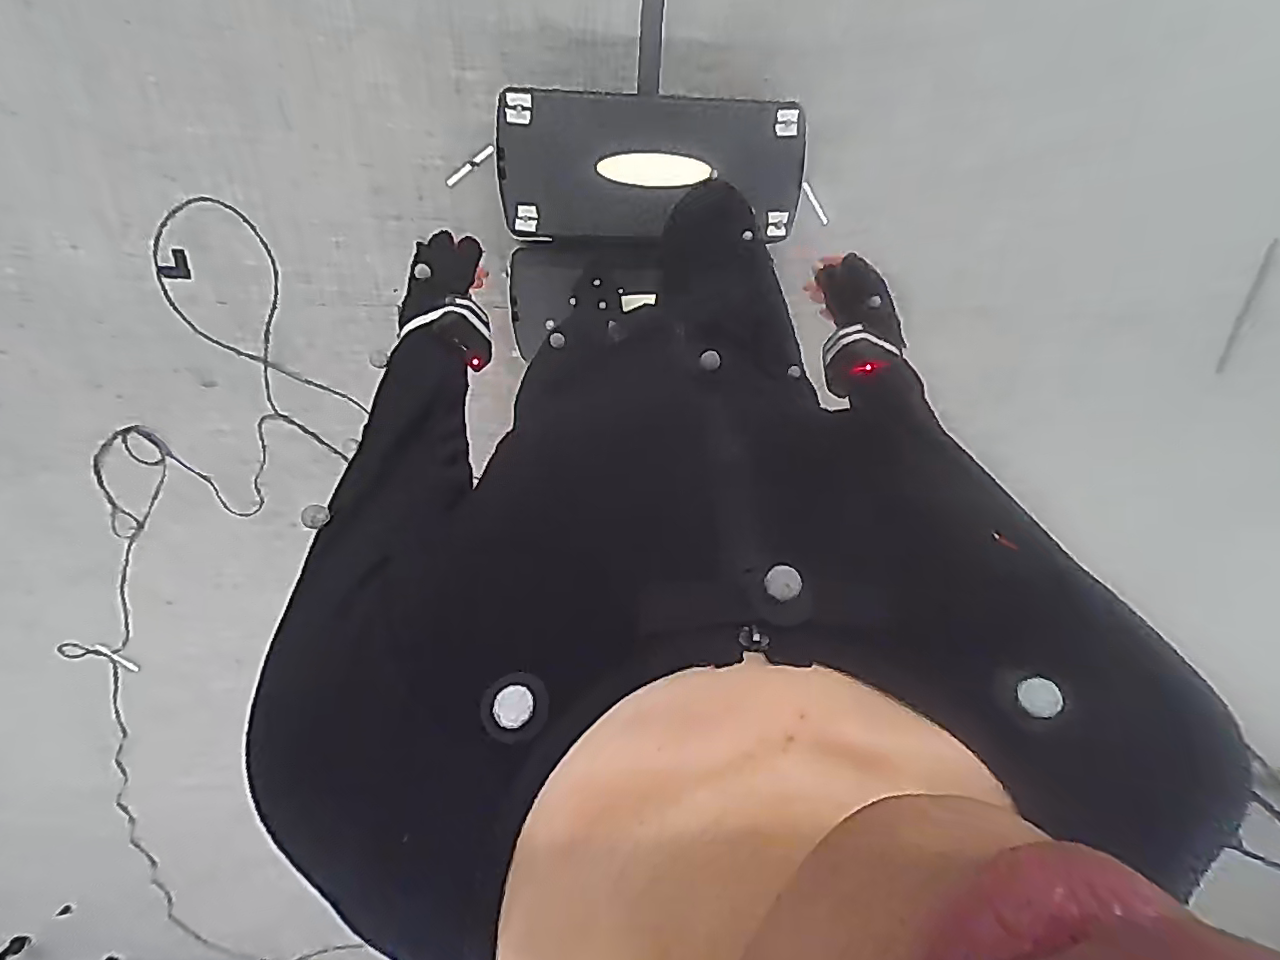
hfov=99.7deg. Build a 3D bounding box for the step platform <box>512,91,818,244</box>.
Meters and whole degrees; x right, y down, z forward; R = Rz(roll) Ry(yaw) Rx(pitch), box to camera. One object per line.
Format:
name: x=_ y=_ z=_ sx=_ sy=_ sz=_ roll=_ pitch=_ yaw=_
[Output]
step platform: x=0.054 y=-0.704 z=1.249 sx=0.684 sy=0.204 sz=0.286 roll=-2 pitch=113 yaw=-6
